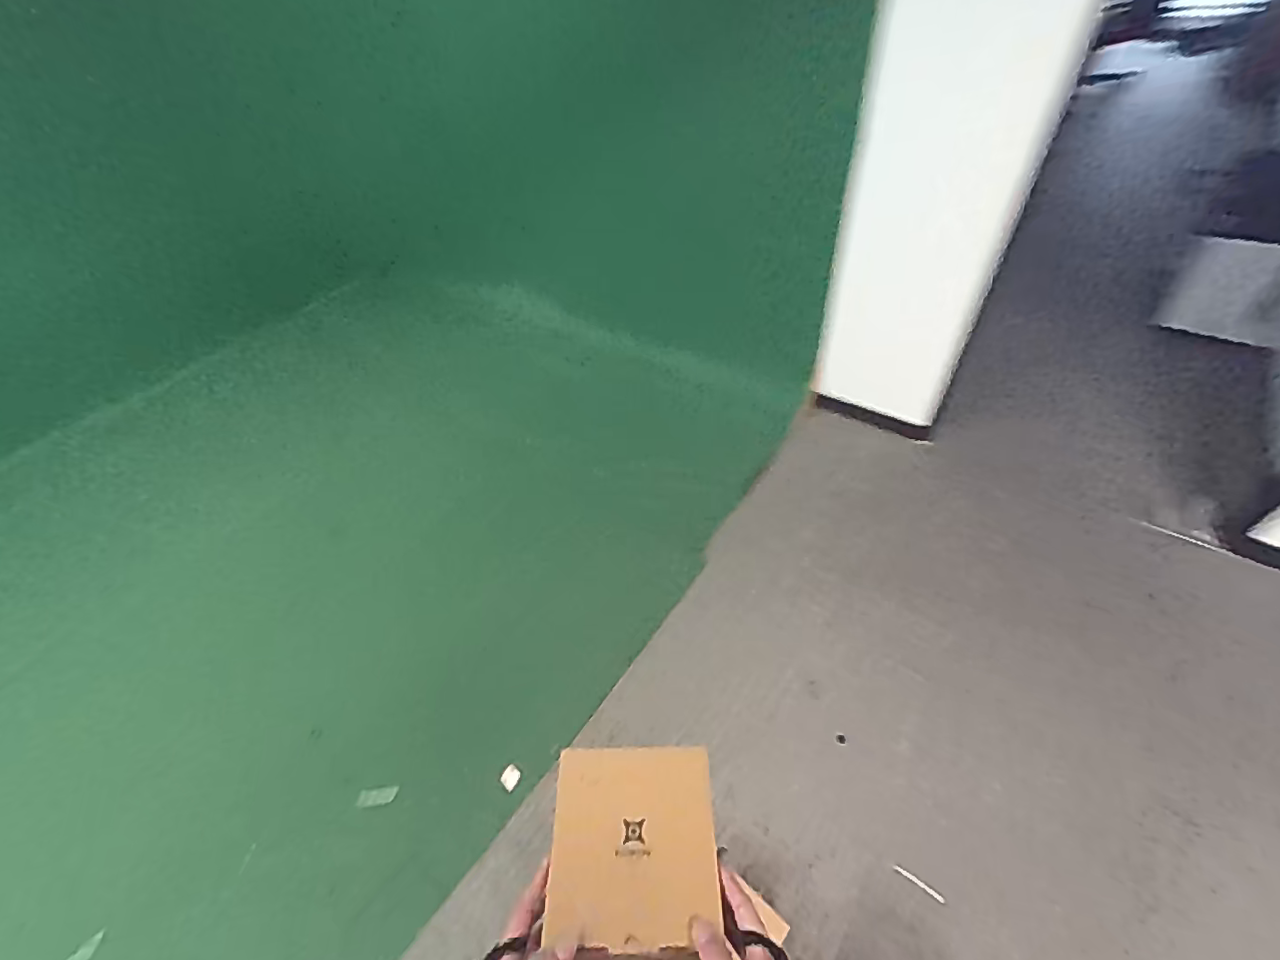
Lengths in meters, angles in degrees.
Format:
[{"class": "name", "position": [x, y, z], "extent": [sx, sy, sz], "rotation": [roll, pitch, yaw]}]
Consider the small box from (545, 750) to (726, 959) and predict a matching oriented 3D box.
[{"class": "small box", "position": [-0.004, 0.422, 0.593], "extent": [0.168, 0.176, 0.179], "rotation": [-3, 42, 0]}]

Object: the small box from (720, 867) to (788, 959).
[{"class": "small box", "position": [0.198, 0.998, 1.178], "extent": [0.168, 0.176, 0.179], "rotation": [33, 59, 30]}]
